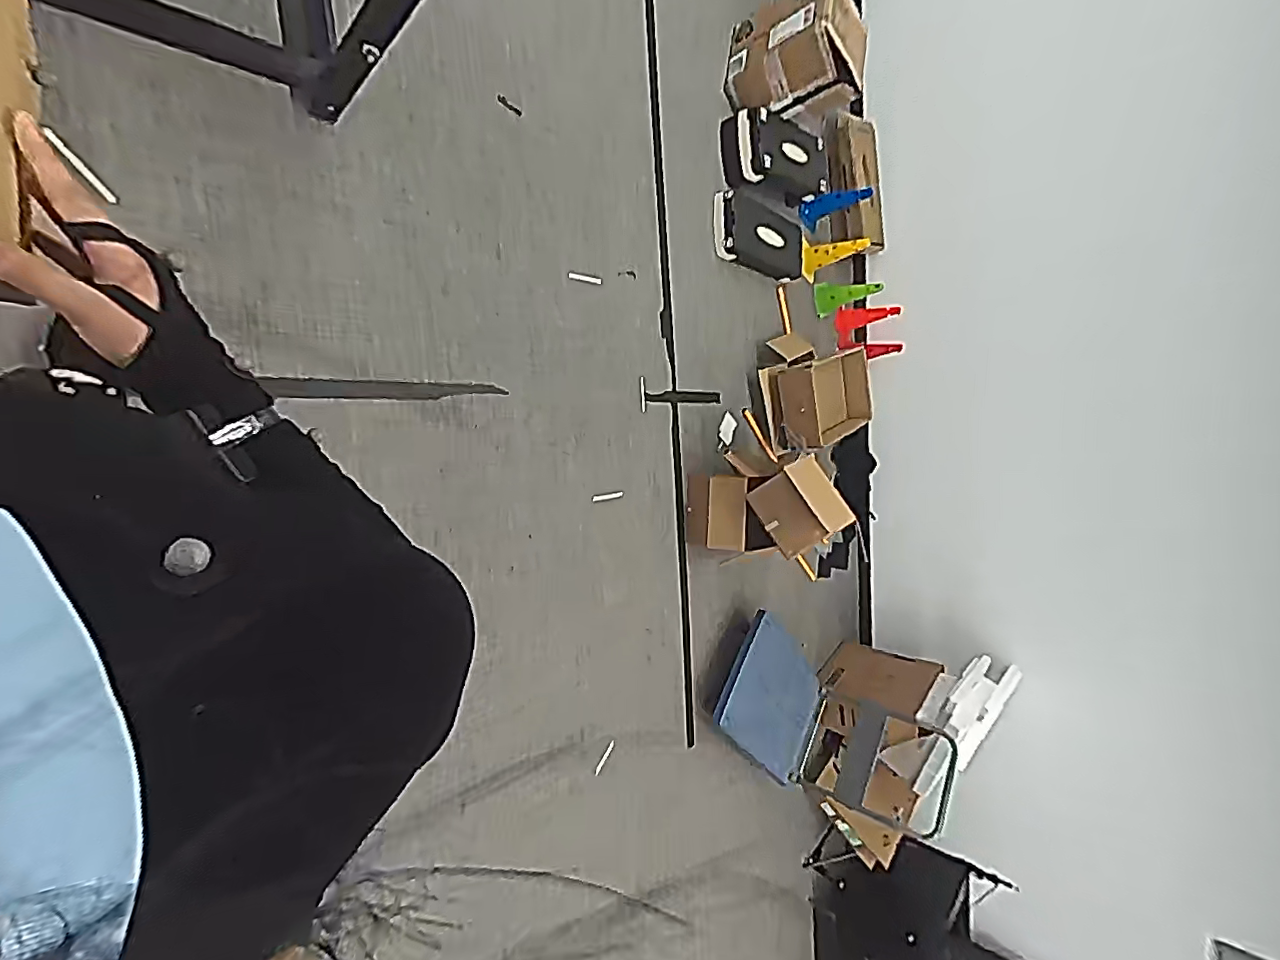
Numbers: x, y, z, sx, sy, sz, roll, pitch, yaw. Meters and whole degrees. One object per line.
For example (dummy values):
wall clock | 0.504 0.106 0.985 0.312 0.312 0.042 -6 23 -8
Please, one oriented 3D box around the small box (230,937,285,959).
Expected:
small box | -0.881 1.197 1.208 0.168 0.176 0.179 -8 97 -47
